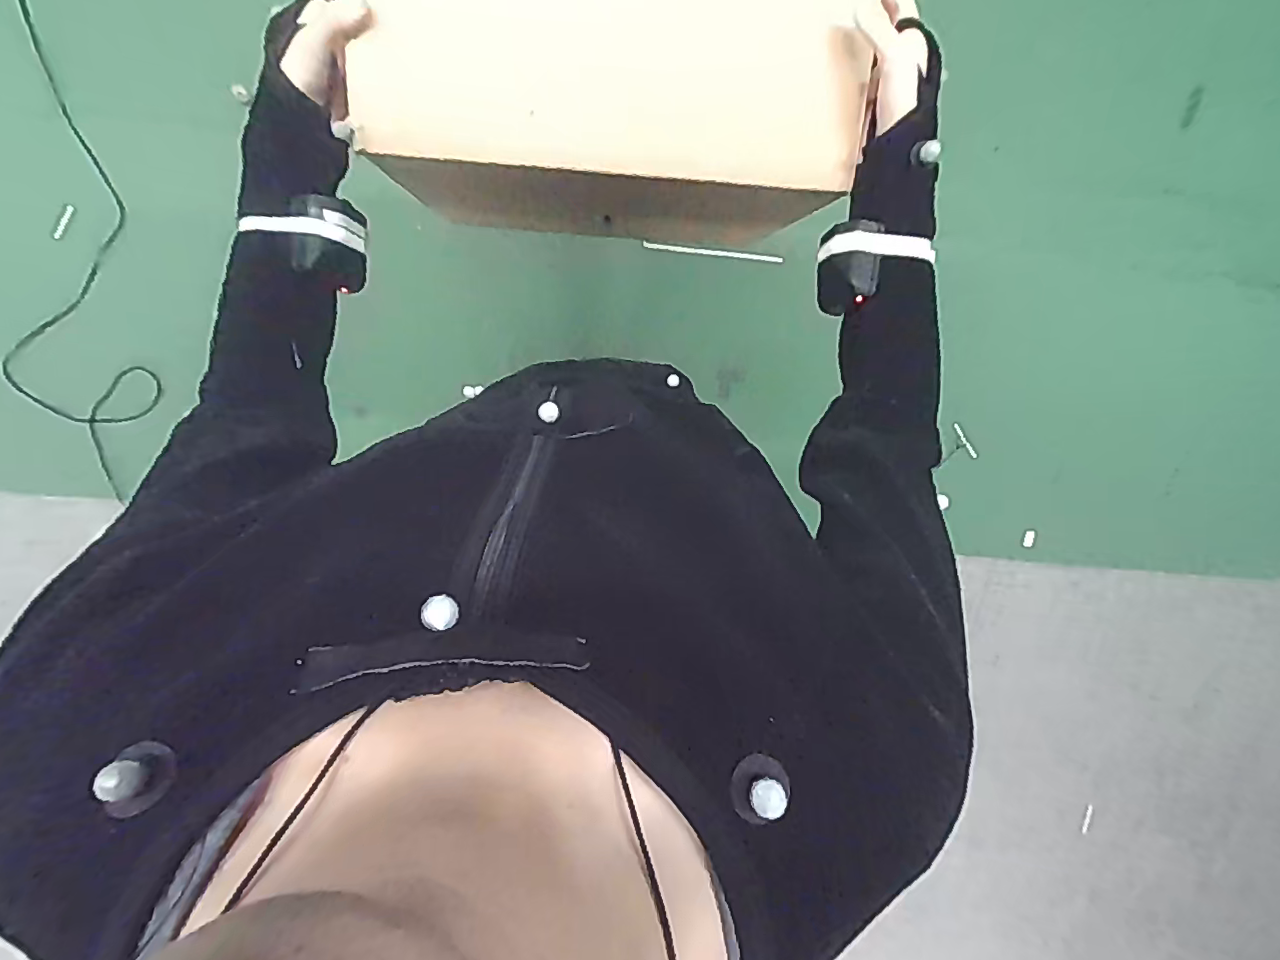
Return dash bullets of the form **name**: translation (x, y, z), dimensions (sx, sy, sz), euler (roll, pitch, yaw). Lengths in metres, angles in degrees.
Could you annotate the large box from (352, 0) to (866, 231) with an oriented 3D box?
- **large box**: translation (-0.026, -0.445, 0.548), dimensions (0.408, 0.320, 0.320), euler (1, 106, -5)
